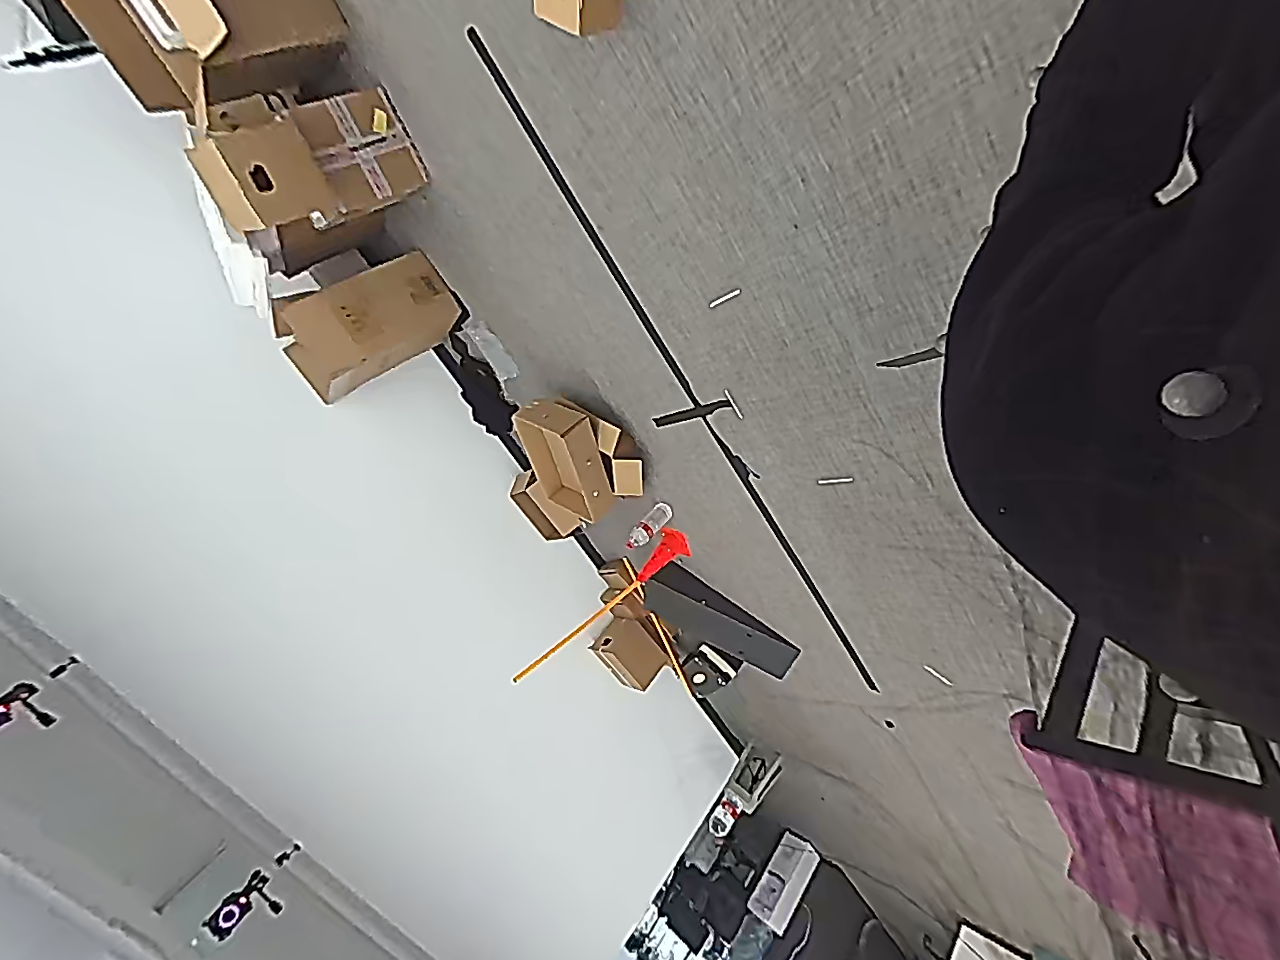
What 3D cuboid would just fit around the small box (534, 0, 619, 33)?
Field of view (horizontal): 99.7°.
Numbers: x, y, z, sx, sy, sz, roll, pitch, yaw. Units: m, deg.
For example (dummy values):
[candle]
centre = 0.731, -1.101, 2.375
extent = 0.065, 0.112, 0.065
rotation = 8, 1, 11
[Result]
[small box]
centre = -0.163, -1.334, 1.437
extent = 0.179, 0.176, 0.168
rotation = 38, 149, 17
